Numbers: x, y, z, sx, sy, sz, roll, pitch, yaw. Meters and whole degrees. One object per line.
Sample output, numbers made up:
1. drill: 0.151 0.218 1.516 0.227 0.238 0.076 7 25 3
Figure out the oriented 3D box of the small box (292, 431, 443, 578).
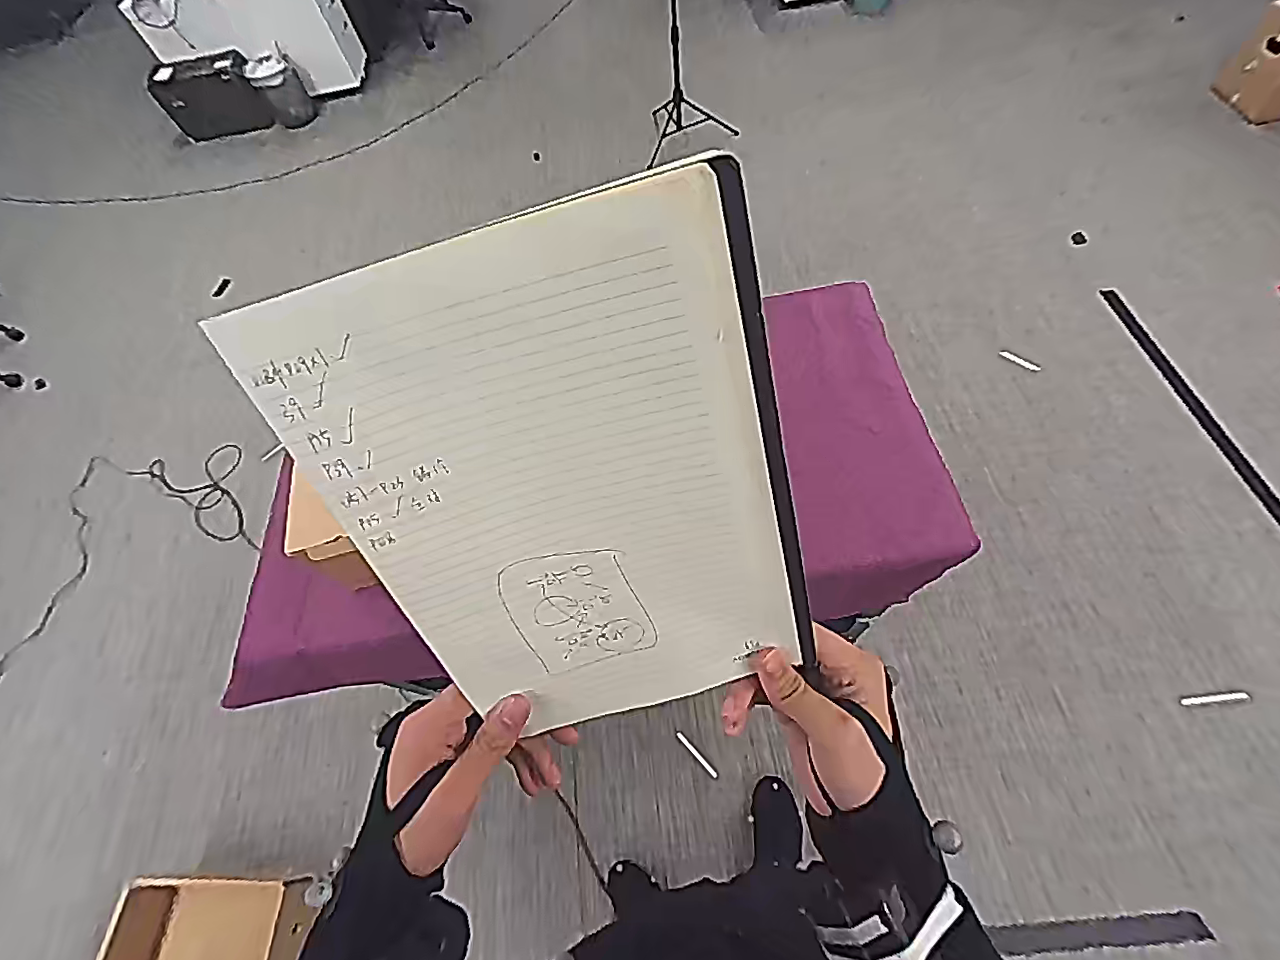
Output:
1. small box: -0.445 0.051 0.907 0.168 0.176 0.179 -15 60 -1
